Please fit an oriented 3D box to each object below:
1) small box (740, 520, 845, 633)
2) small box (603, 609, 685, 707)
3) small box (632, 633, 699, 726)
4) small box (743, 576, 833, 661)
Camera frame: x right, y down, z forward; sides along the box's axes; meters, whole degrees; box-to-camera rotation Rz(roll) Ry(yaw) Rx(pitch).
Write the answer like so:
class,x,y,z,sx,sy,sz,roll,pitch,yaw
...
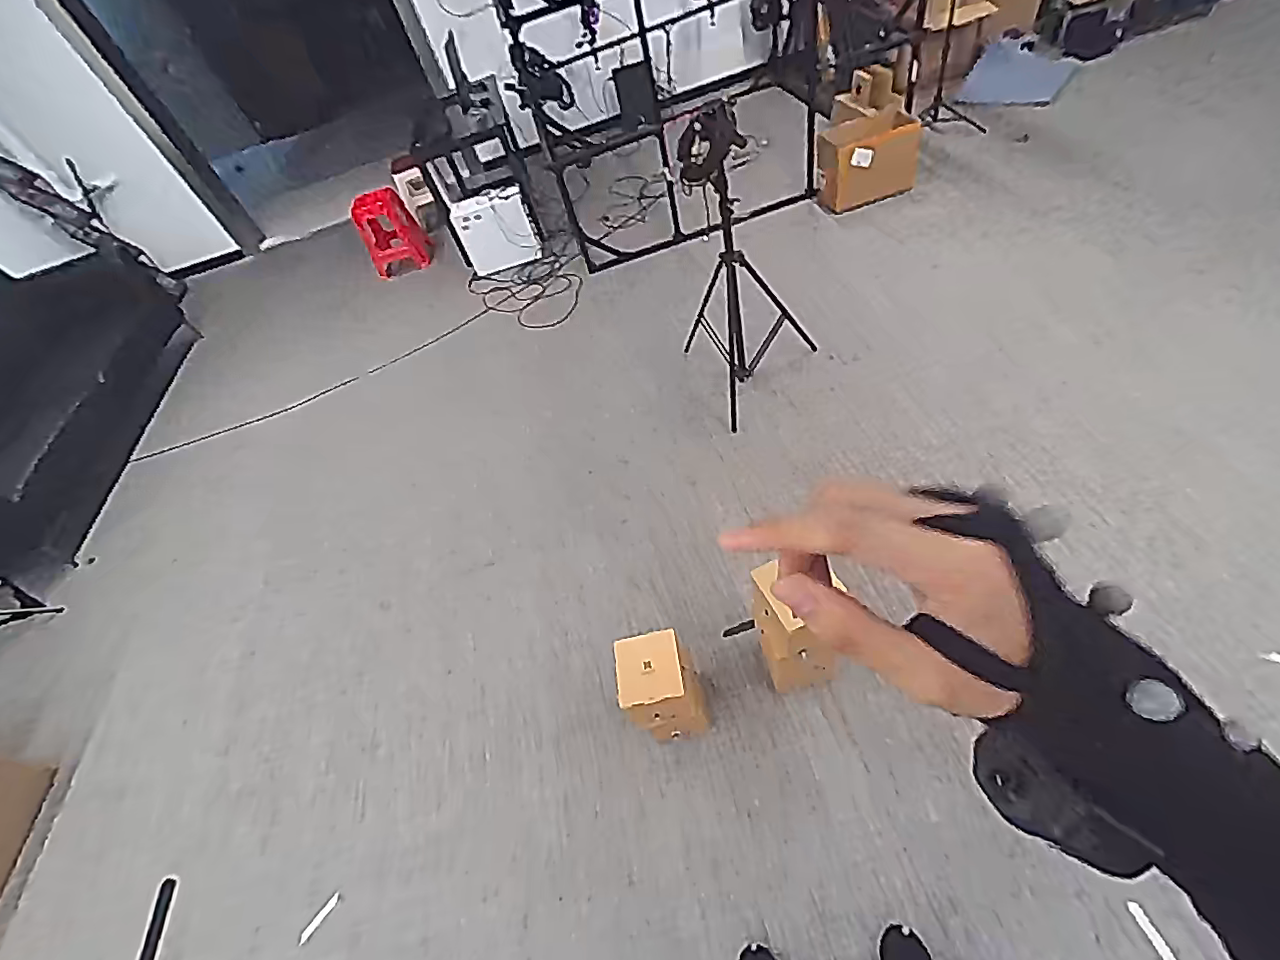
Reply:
class,x,y,z,sx,sy,sz,roll,pitch,yaw
small box,0.351,0.232,1.254,0.168,0.176,0.179,-25,50,-5
small box,0.010,0.460,1.390,0.168,0.176,0.179,-15,50,6
small box,0.058,0.559,1.510,0.168,0.176,0.179,-17,49,3
small box,0.373,0.333,1.383,0.168,0.176,0.179,-19,49,1
